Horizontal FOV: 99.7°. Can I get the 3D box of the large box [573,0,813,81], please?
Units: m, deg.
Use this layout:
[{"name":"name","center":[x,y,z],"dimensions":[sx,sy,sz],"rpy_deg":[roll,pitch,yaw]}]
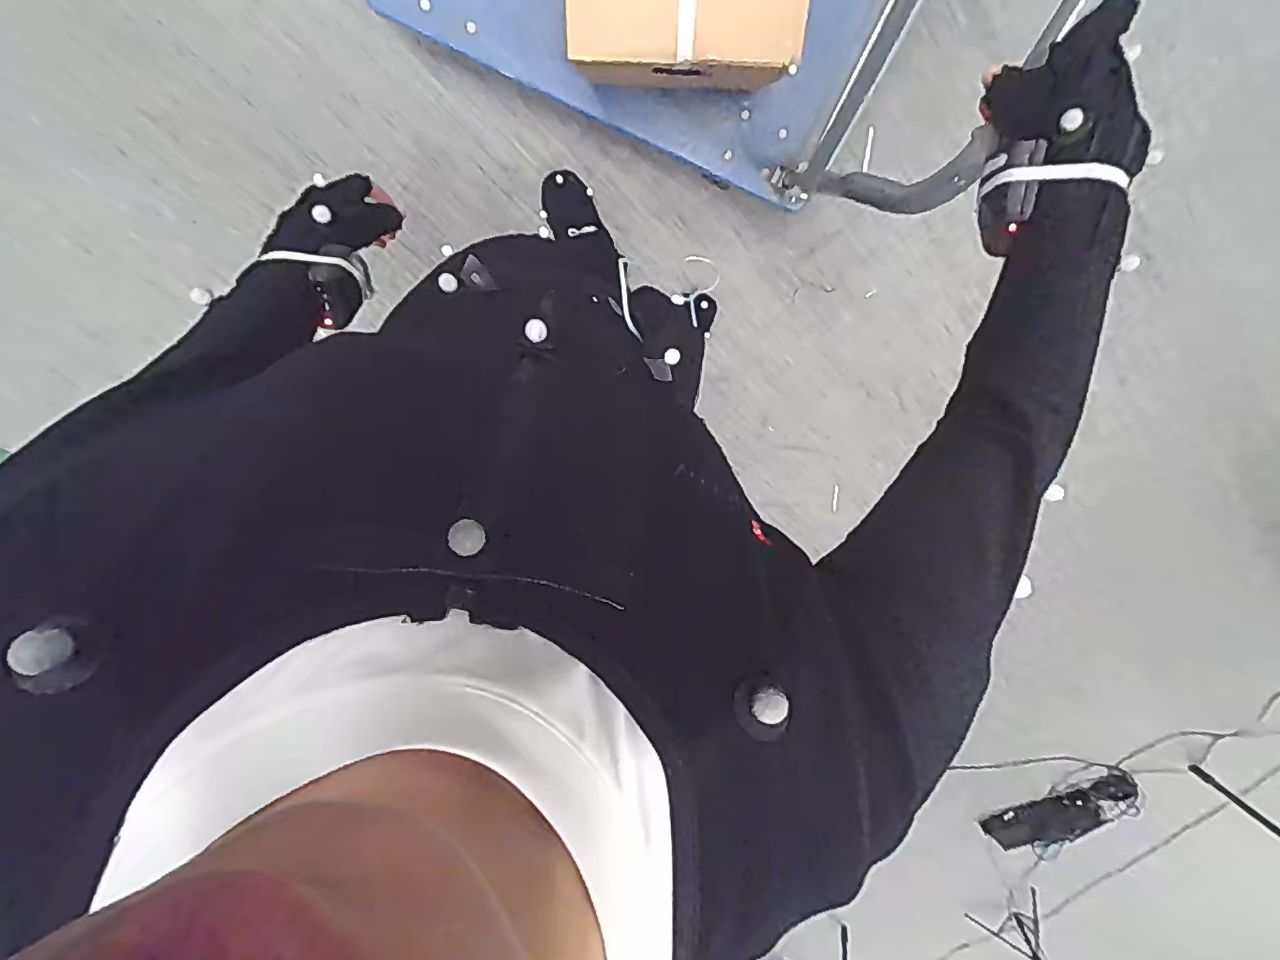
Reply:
[{"name":"large box","center":[0.071,-0.811,0.740],"dimensions":[0.320,0.320,0.408],"rpy_deg":[2,123,0]}]
